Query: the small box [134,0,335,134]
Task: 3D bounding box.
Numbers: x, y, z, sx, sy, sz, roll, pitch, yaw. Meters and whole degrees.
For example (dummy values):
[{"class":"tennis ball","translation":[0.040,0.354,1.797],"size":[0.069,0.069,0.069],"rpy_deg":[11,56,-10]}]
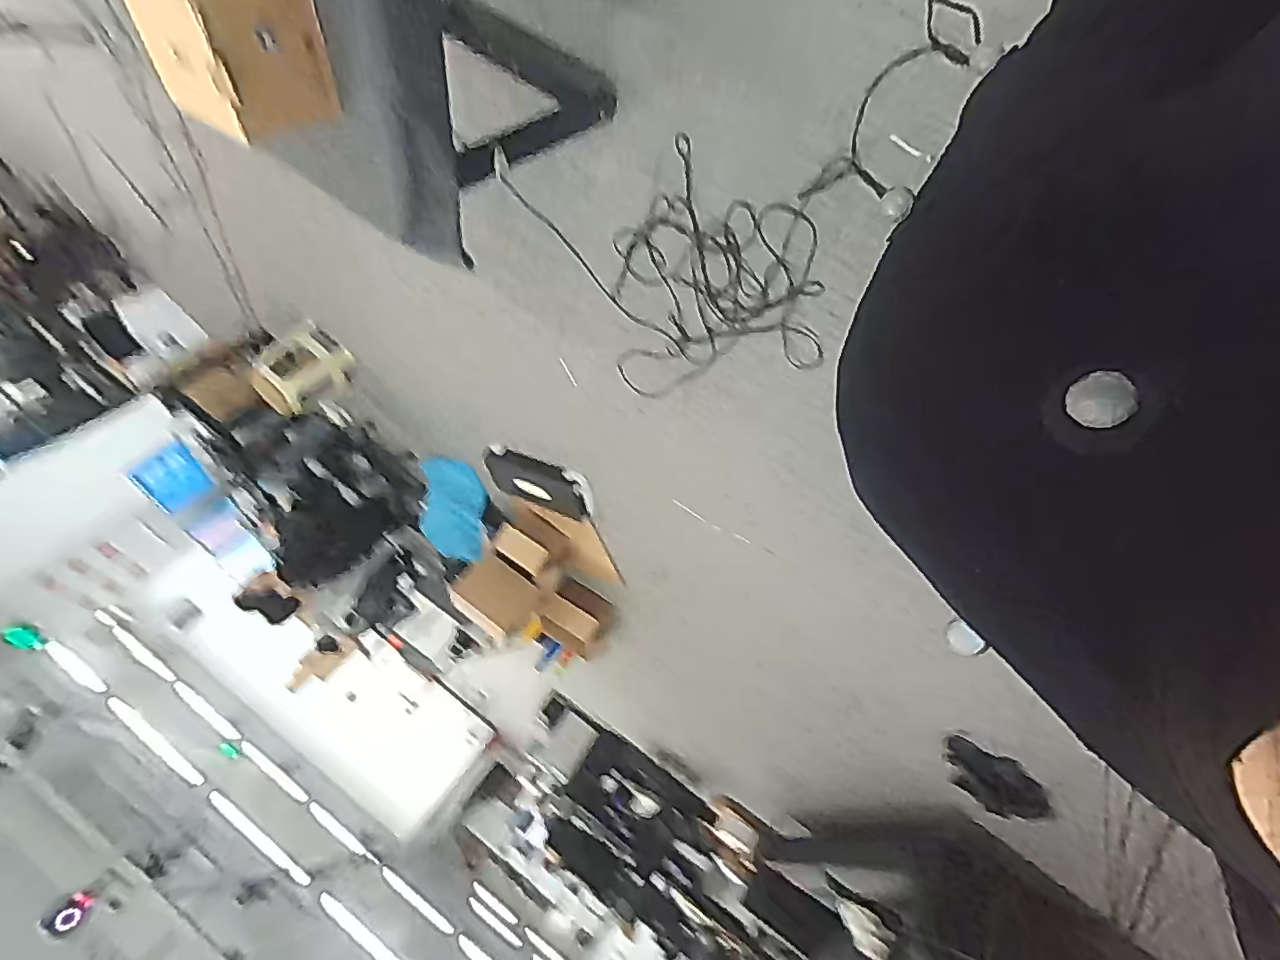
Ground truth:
[{"class":"small box","translation":[-0.570,-0.637,0.773],"size":[0.179,0.176,0.168],"rpy_deg":[34,145,13]}]
